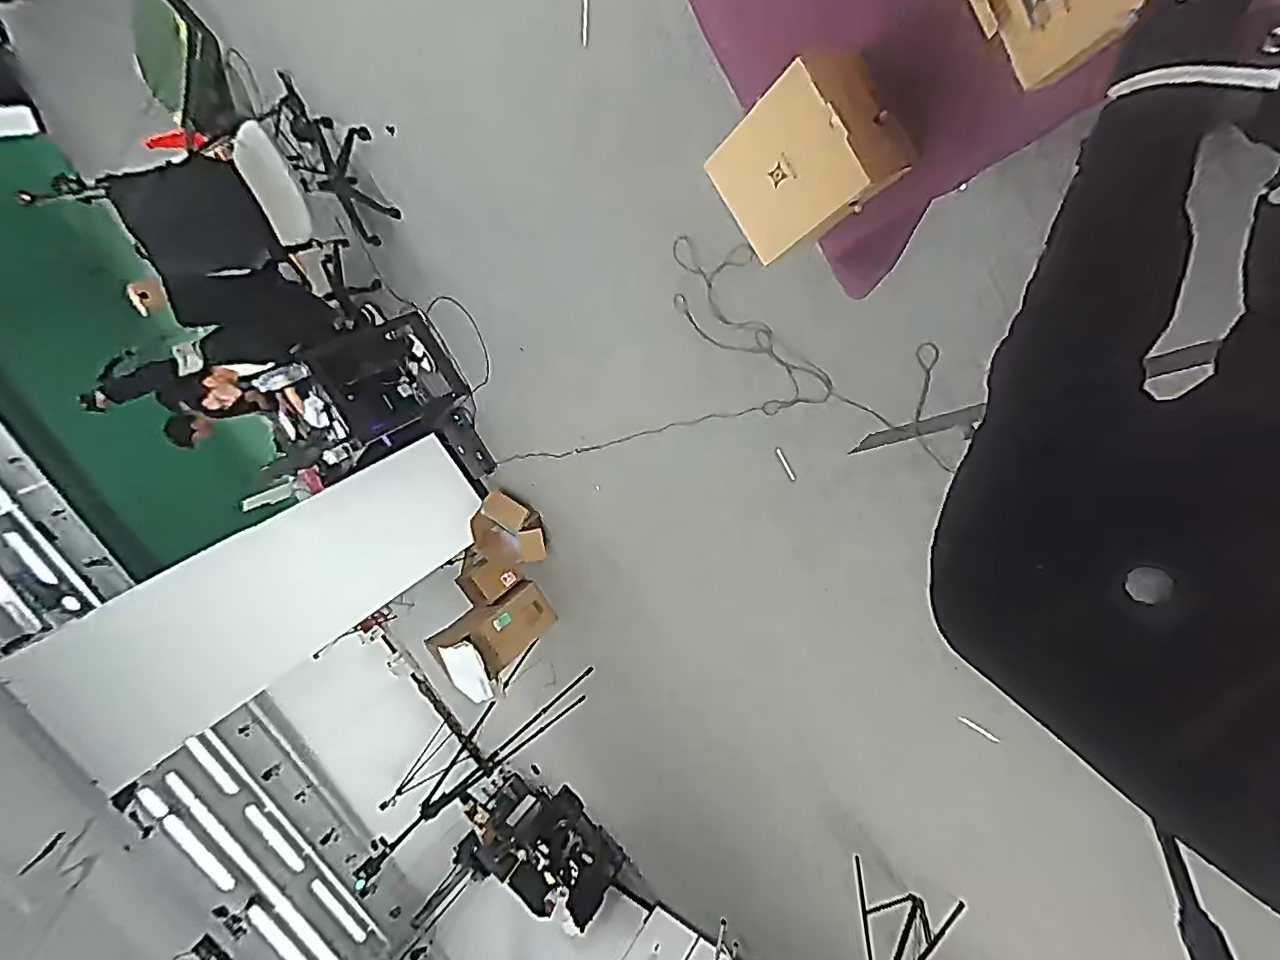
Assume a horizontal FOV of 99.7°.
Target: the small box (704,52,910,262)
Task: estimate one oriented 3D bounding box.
[{"bbox_3d":[0.228,-0.434,0.735,0.168,0.176,0.179,56,143,-6],"label":"small box"}]
